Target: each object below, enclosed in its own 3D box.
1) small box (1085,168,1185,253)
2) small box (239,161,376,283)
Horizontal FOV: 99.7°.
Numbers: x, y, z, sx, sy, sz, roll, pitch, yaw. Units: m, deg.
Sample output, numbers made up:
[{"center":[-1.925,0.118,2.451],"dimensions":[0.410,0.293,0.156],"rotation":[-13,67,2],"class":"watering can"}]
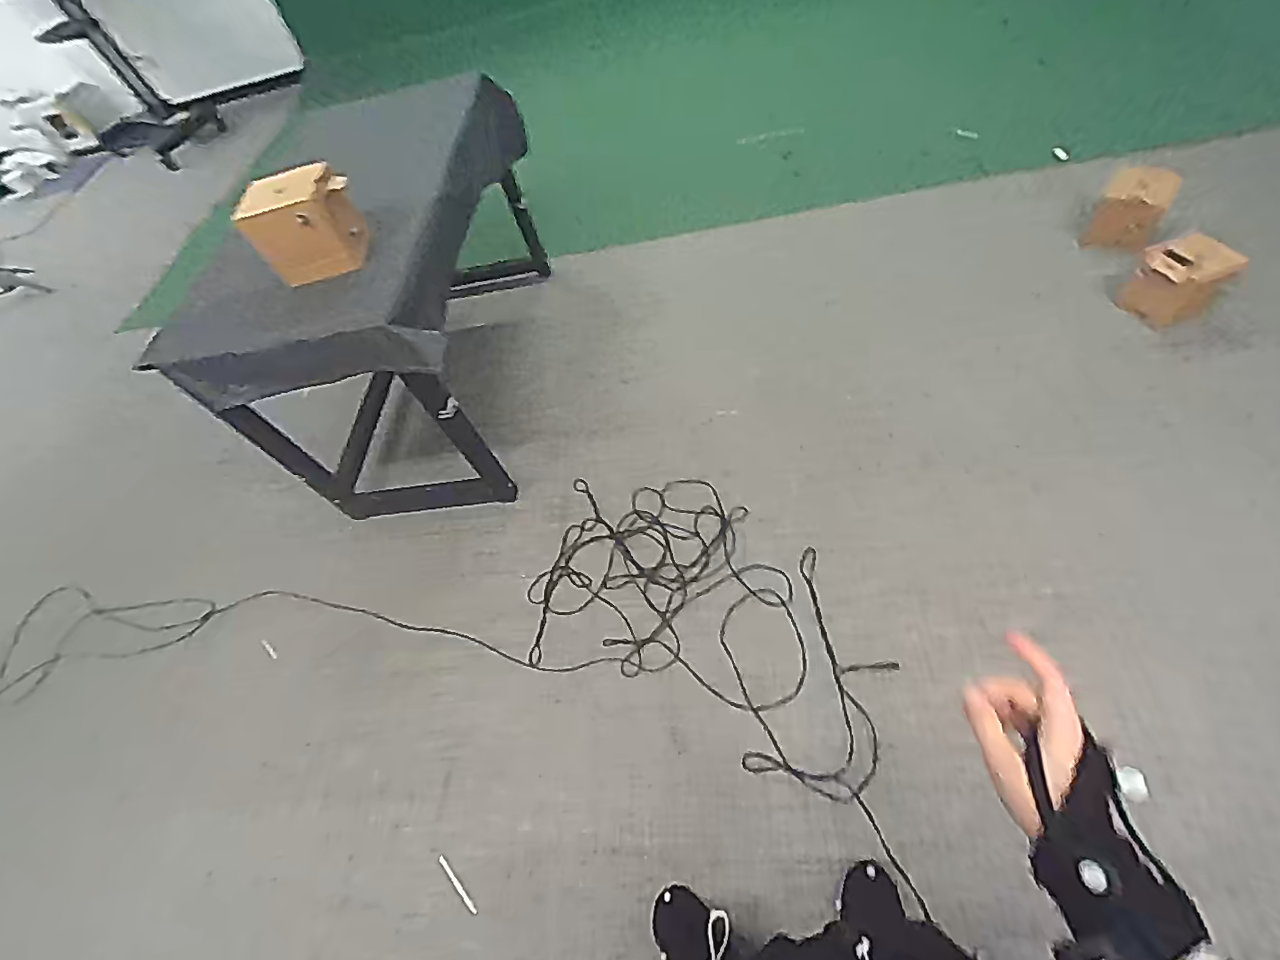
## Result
[{"center":[1.564,-0.854,1.718],"dimensions":[0.168,0.176,0.179],"rotation":[28,66,27],"class":"small box"},{"center":[-0.727,-0.566,1.203],"dimensions":[0.179,0.176,0.168],"rotation":[-13,55,5],"class":"small box"}]
